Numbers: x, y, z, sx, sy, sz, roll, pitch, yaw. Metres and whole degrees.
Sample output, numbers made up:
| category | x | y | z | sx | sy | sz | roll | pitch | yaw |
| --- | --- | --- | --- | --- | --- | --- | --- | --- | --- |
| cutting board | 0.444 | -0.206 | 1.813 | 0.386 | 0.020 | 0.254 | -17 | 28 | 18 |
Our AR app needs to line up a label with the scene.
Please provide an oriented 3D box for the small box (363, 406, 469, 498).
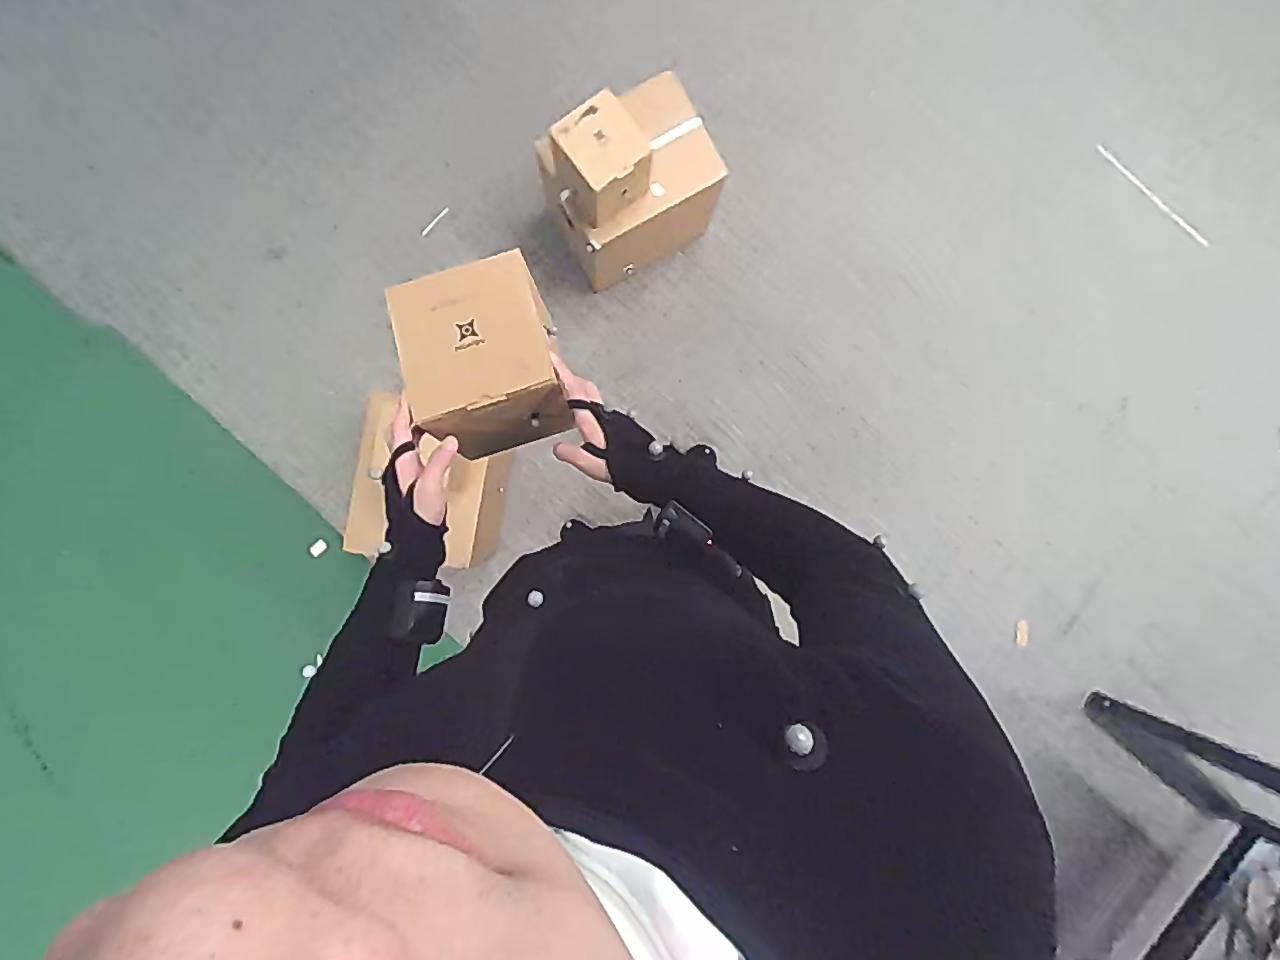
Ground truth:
| category | x | y | z | sx | sy | sz | roll | pitch | yaw |
| --- | --- | --- | --- | --- | --- | --- | --- | --- | --- |
| small box | -0.494 | -0.057 | 1.223 | 0.168 | 0.176 | 0.179 | 9 | 88 | -3 |

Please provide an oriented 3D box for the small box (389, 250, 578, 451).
| category | x | y | z | sx | sy | sz | roll | pitch | yaw |
| --- | --- | --- | --- | --- | --- | --- | --- | --- | --- |
| small box | -0.185 | -0.147 | 0.682 | 0.168 | 0.176 | 0.179 | -16 | 77 | -1 |

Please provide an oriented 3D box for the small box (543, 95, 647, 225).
| category | x | y | z | sx | sy | sz | roll | pitch | yaw |
| --- | --- | --- | --- | --- | --- | --- | --- | --- | --- |
| small box | -0.103 | -0.733 | 1.269 | 0.168 | 0.176 | 0.179 | -38 | 92 | -4 |

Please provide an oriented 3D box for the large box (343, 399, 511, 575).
| category | x | y | z | sx | sy | sz | roll | pitch | yaw |
| --- | --- | --- | --- | --- | --- | --- | --- | --- | --- |
| large box | -0.550 | 0.017 | 1.466 | 0.320 | 0.320 | 0.408 | 9 | 89 | -2 |
